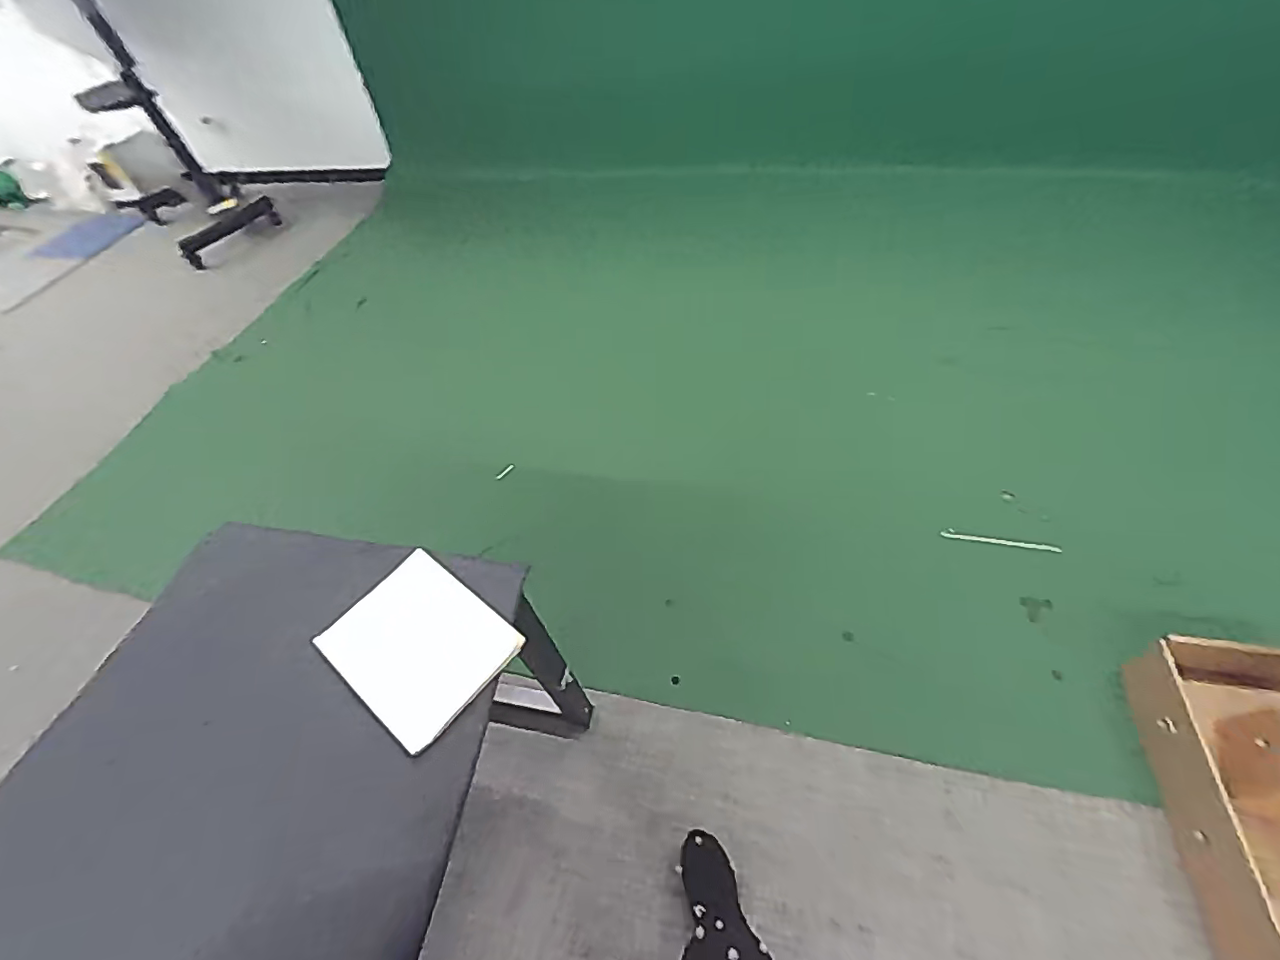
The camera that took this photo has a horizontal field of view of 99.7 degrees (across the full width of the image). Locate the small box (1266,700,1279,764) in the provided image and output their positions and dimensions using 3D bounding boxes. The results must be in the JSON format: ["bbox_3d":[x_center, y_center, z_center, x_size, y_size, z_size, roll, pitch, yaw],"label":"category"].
[{"bbox_3d":[1.307,0.477,0.964,0.179,0.176,0.168,13,55,17],"label":"small box"}]

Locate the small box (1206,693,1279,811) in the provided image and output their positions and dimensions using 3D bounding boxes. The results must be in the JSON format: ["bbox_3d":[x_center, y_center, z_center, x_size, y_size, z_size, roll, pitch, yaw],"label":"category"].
[{"bbox_3d":[1.320,0.569,1.100,0.168,0.176,0.179,16,57,18],"label":"small box"}]
